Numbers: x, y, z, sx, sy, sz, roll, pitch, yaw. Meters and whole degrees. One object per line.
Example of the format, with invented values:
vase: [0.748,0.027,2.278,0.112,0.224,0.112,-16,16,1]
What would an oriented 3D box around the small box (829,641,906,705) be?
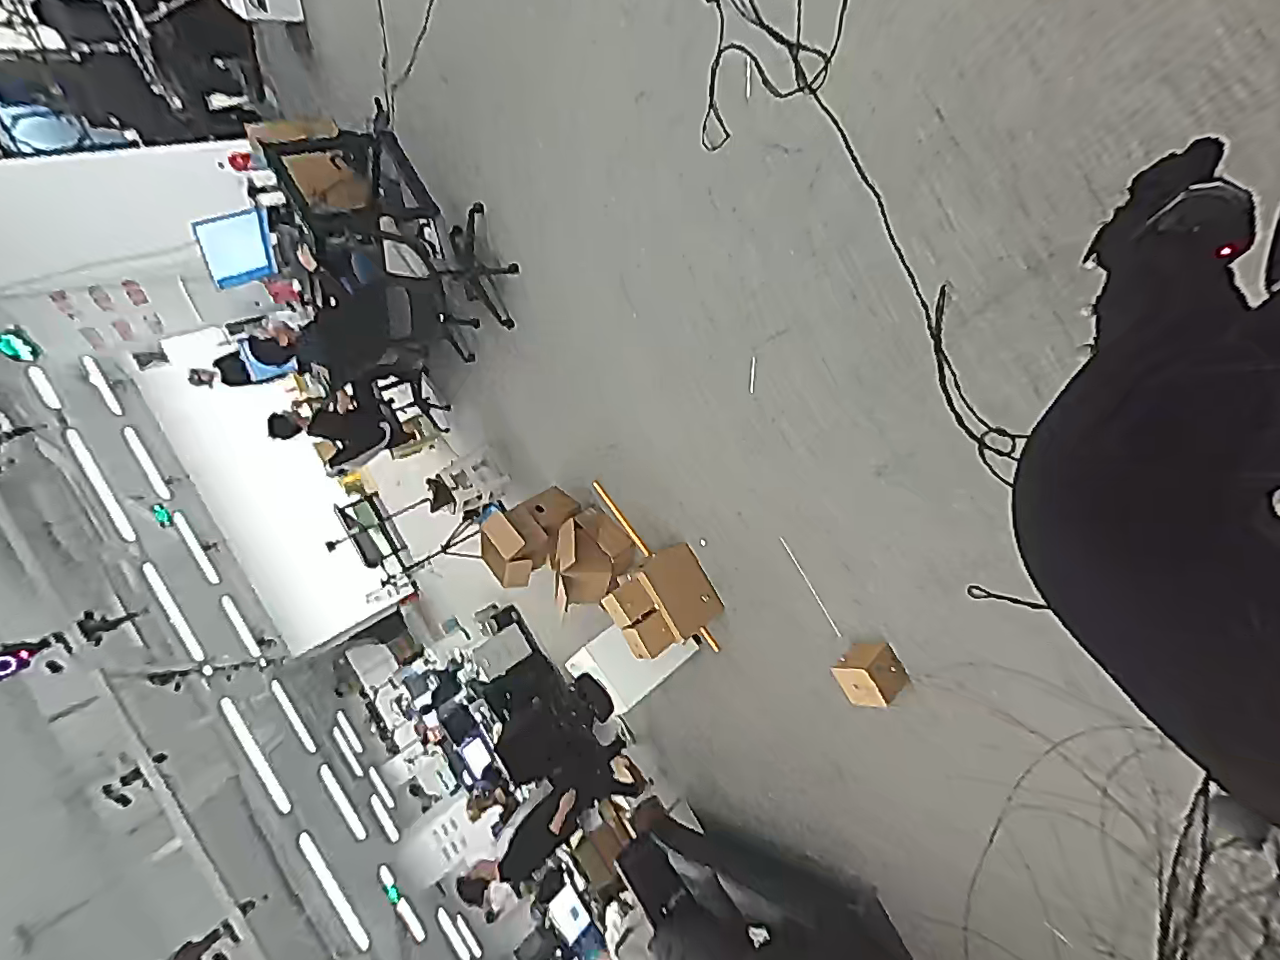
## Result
small box: [0.877,0.737,2.080,0.168,0.176,0.179,58,148,1]
